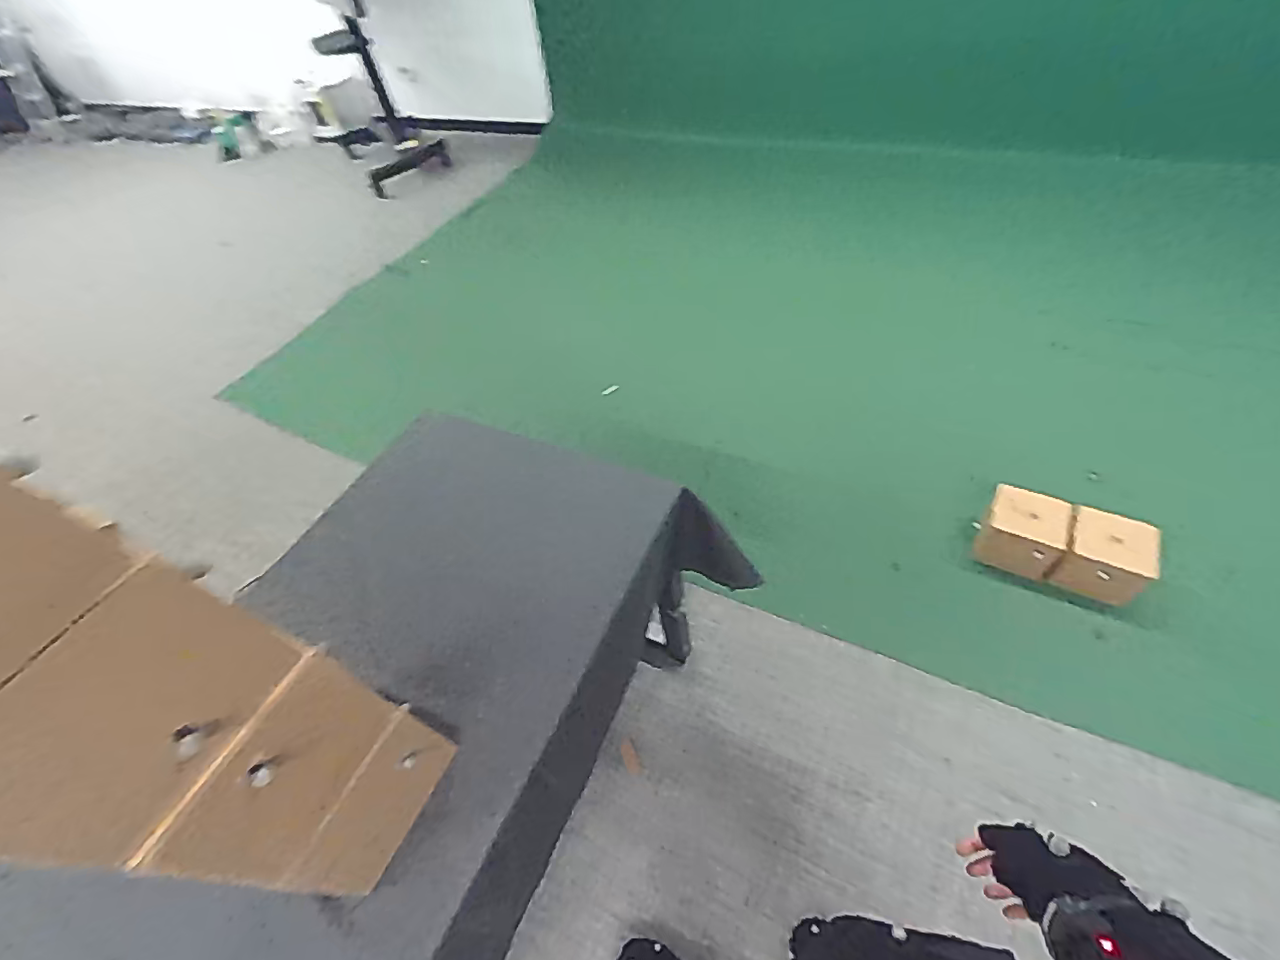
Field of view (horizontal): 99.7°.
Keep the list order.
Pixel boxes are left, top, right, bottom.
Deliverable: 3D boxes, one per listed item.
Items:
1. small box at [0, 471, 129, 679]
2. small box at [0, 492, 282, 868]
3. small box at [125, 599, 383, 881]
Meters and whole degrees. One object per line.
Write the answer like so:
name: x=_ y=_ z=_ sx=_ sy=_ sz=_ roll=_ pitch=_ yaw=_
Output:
small box: x=-0.435 y=0.043 z=0.267 sx=0.168 sy=0.176 sz=0.179 roll=17 pitch=55 yaw=20
small box: x=-0.410 y=0.144 z=0.396 sx=0.168 sy=0.176 sz=0.179 roll=17 pitch=55 yaw=22
small box: x=-0.383 y=0.247 z=0.520 sx=0.168 sy=0.176 sz=0.179 roll=16 pitch=55 yaw=21
